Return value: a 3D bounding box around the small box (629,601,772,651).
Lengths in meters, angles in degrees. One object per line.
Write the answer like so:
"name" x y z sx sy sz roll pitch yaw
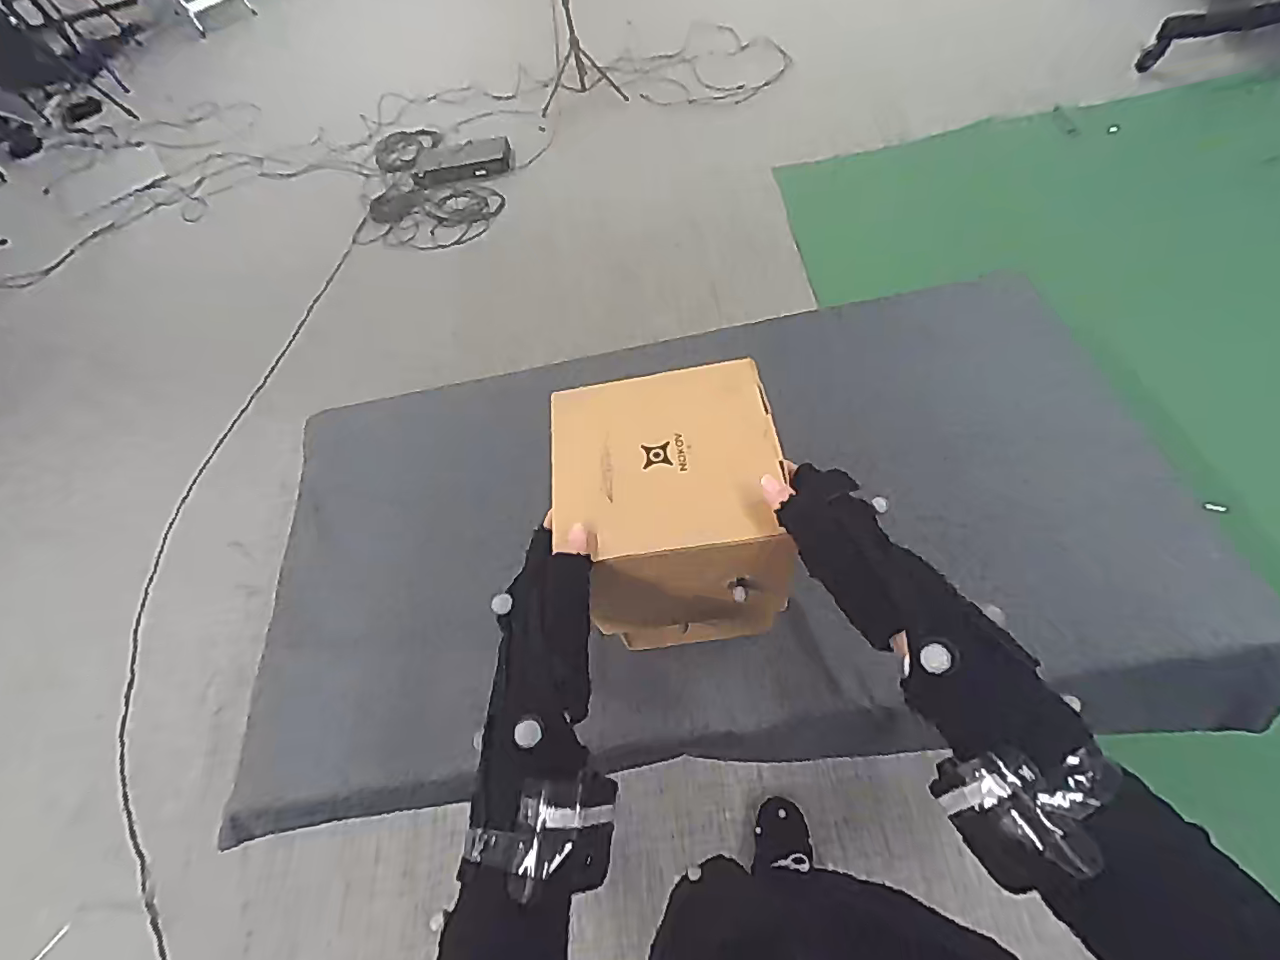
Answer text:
"small box" 0.055 0.091 0.642 0.179 0.176 0.168 -11 57 2

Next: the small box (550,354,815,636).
"small box" 0.032 0.022 0.473 0.179 0.176 0.168 -13 57 2
